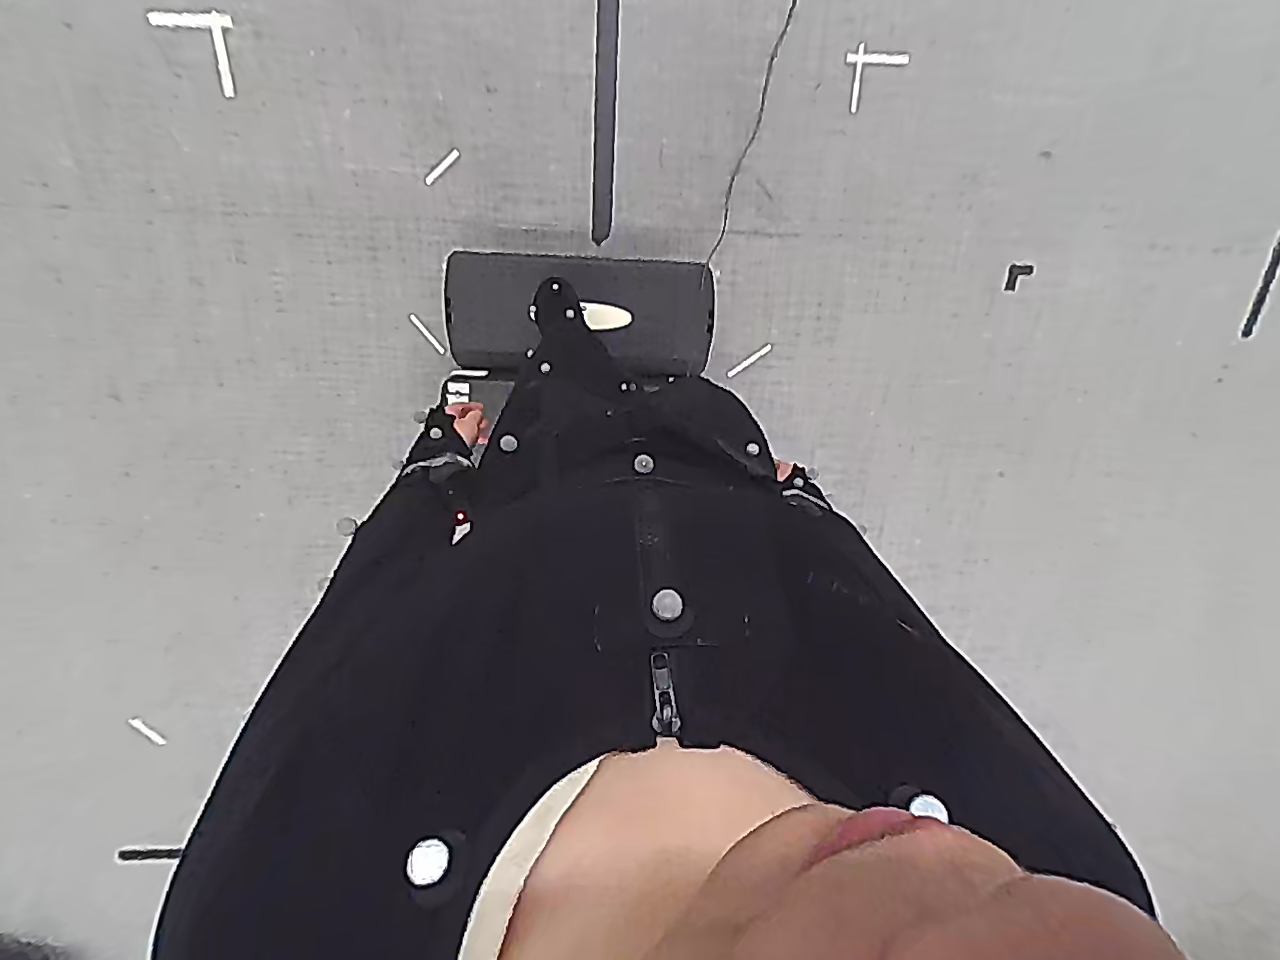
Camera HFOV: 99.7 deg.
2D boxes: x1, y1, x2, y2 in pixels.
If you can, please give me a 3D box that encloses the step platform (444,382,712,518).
[{"bbox_3d":[-0.155,-0.079,1.424,0.684,0.204,0.286,6,105,-4],"label":"step platform"}]
